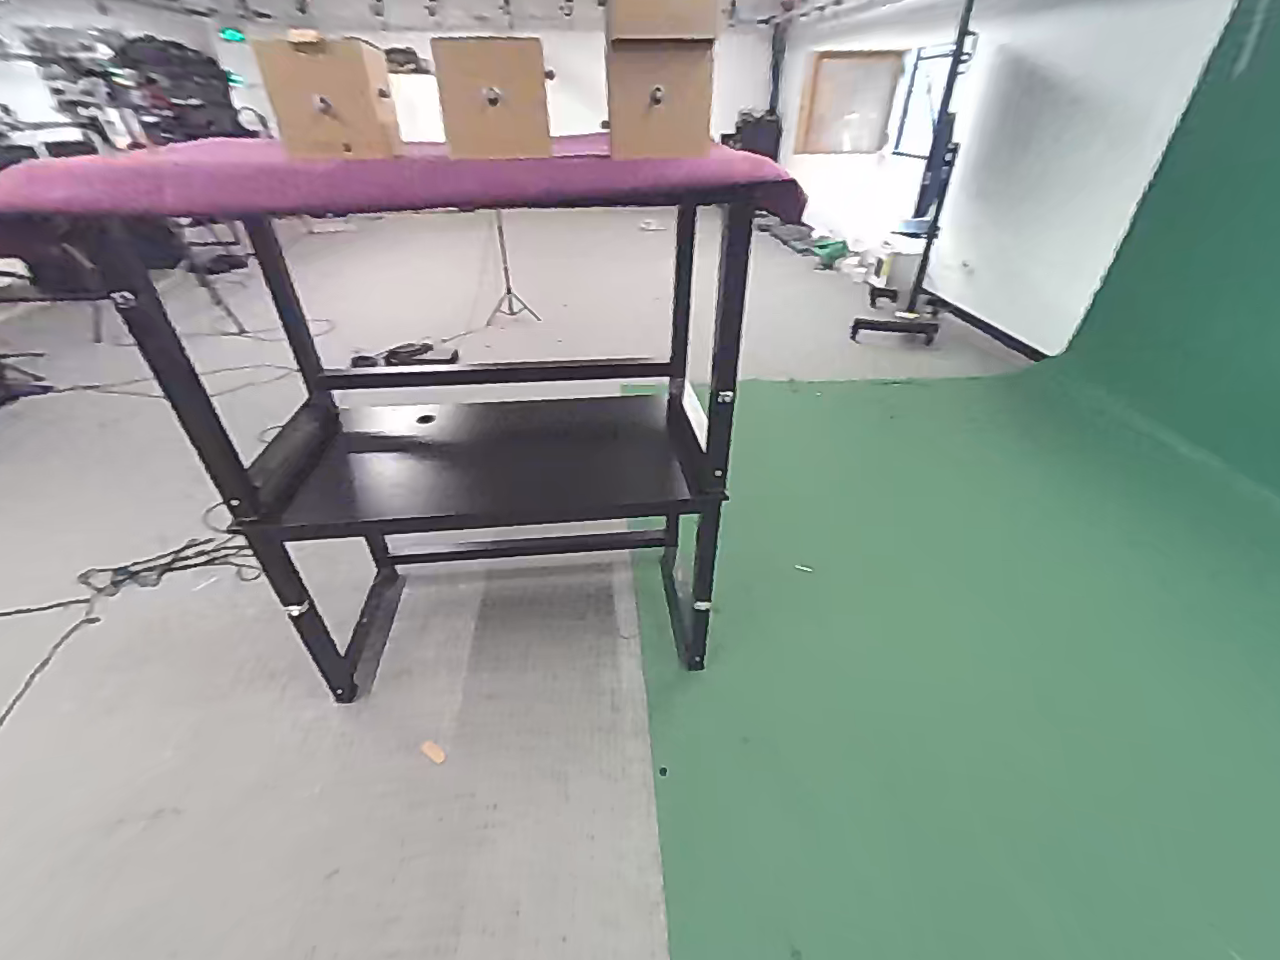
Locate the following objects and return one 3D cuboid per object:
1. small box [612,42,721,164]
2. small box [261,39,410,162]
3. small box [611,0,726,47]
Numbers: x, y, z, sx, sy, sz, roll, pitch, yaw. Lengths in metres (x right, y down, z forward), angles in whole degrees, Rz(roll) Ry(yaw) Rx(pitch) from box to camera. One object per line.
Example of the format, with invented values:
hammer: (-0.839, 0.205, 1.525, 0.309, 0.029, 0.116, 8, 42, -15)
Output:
small box: (0.041, -0.680, 0.980, 0.179, 0.176, 0.168, -4, 35, -3)
small box: (-0.522, -0.667, 0.960, 0.168, 0.176, 0.179, -5, 34, -8)
small box: (0.043, -0.803, 0.869, 0.179, 0.176, 0.168, -4, 35, -4)
